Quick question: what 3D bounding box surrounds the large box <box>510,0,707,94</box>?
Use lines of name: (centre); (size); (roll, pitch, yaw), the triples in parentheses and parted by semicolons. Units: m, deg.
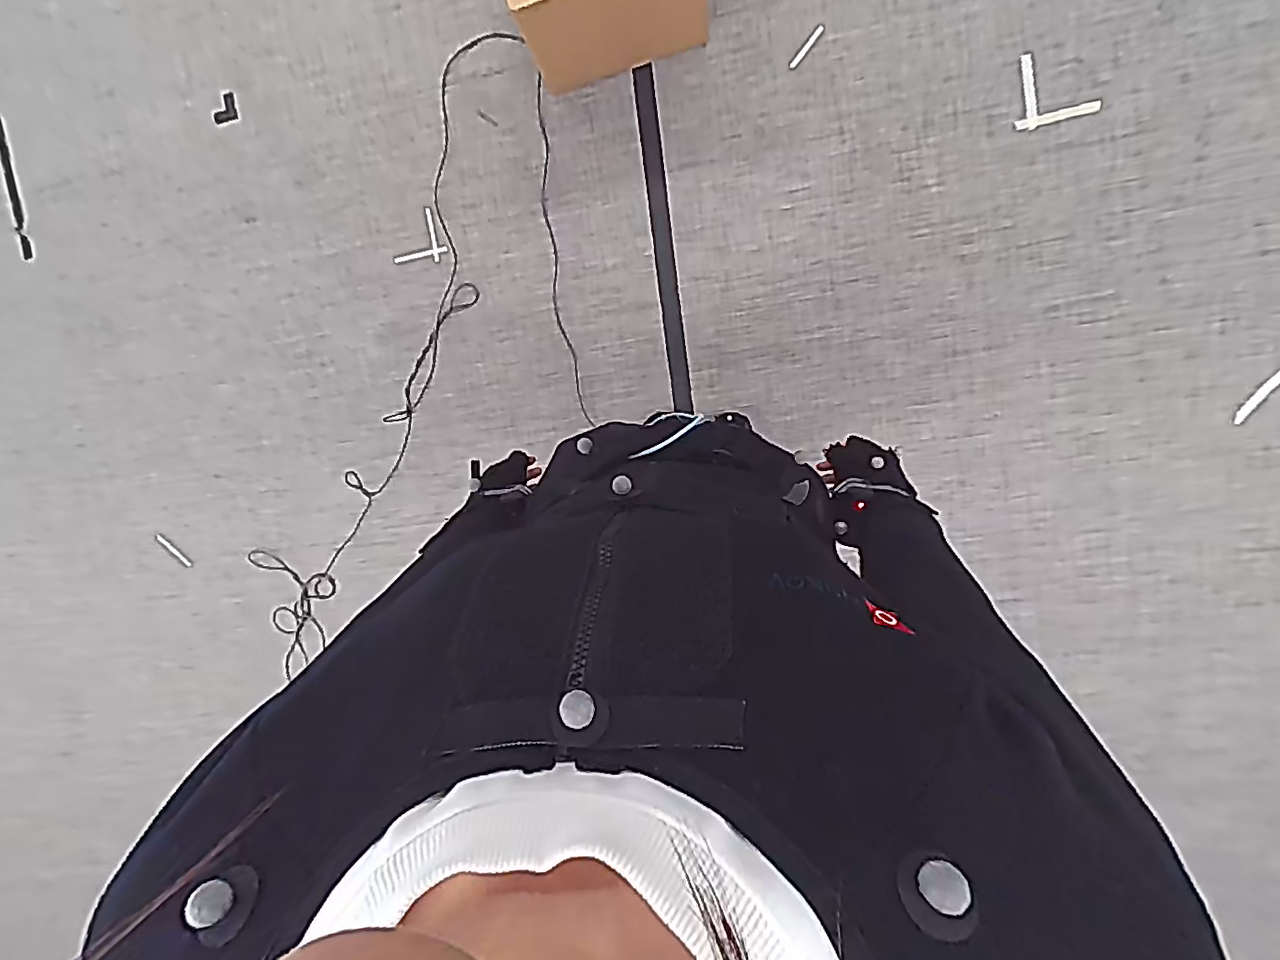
large box: (-0.085, -1.131, 1.162); (0.408, 0.320, 0.320); (-14, 97, 8)
